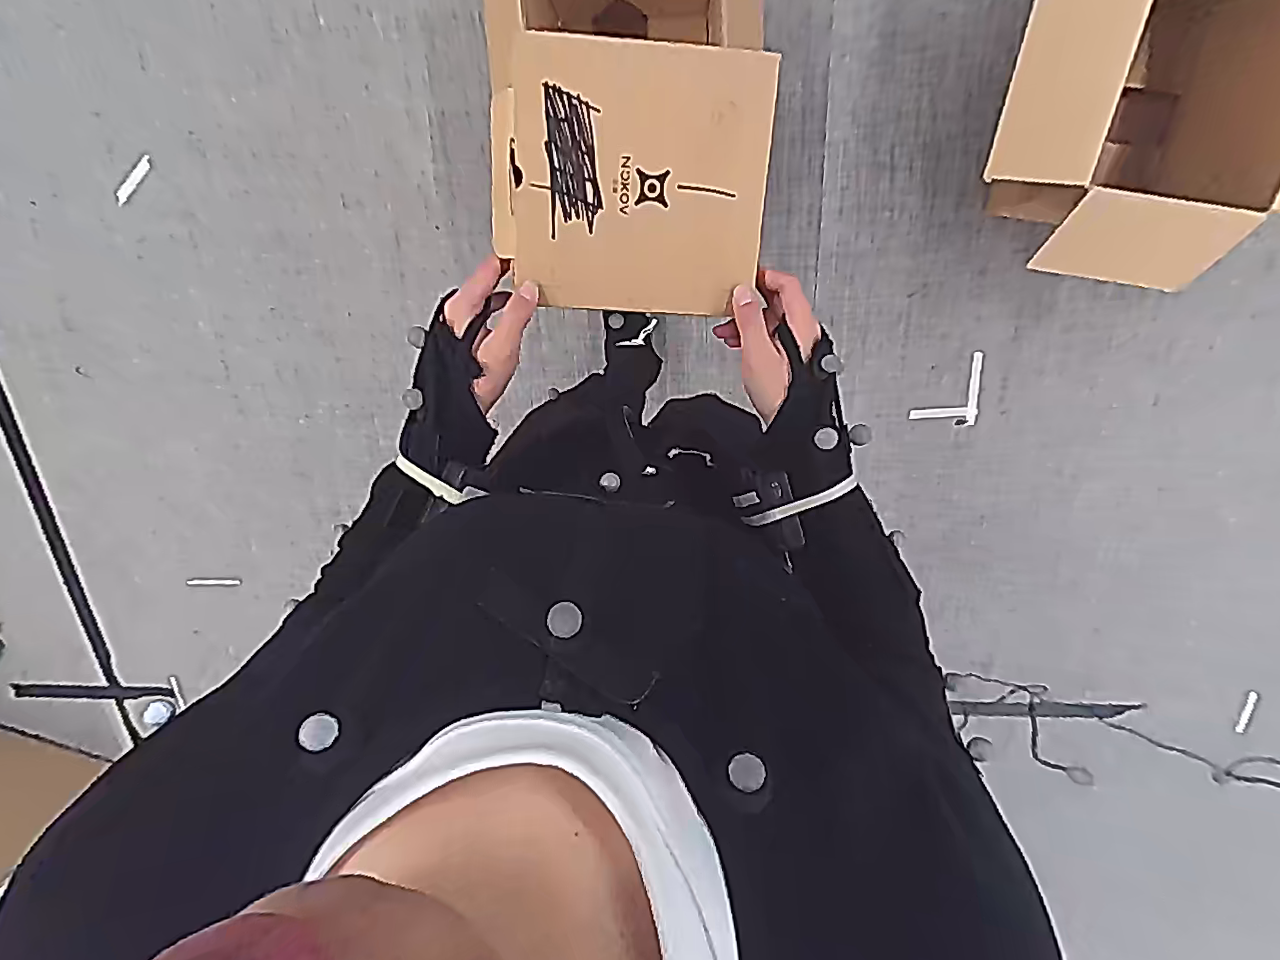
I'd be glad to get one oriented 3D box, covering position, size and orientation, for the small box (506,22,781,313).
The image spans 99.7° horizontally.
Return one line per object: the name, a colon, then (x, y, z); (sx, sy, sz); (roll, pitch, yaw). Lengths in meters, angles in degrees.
small box: (-0.004, -0.227, 0.439); (0.179, 0.176, 0.168); (2, 108, -4)
